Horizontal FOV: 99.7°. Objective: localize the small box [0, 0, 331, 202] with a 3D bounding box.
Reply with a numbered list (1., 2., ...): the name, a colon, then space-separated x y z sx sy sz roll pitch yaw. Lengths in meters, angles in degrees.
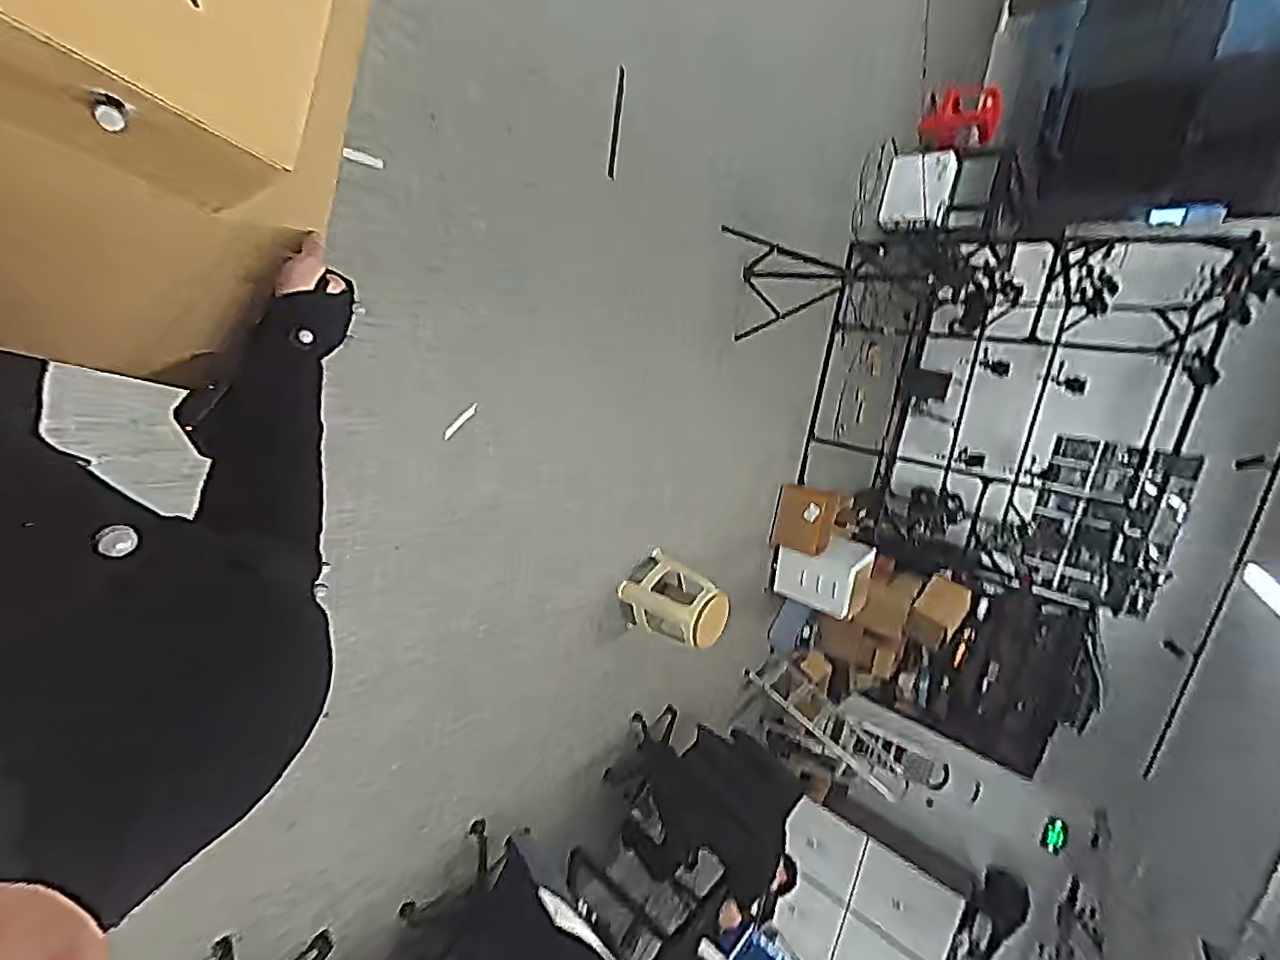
1. small box: -0.371 -0.335 0.404 0.179 0.176 0.168 13 85 -52
